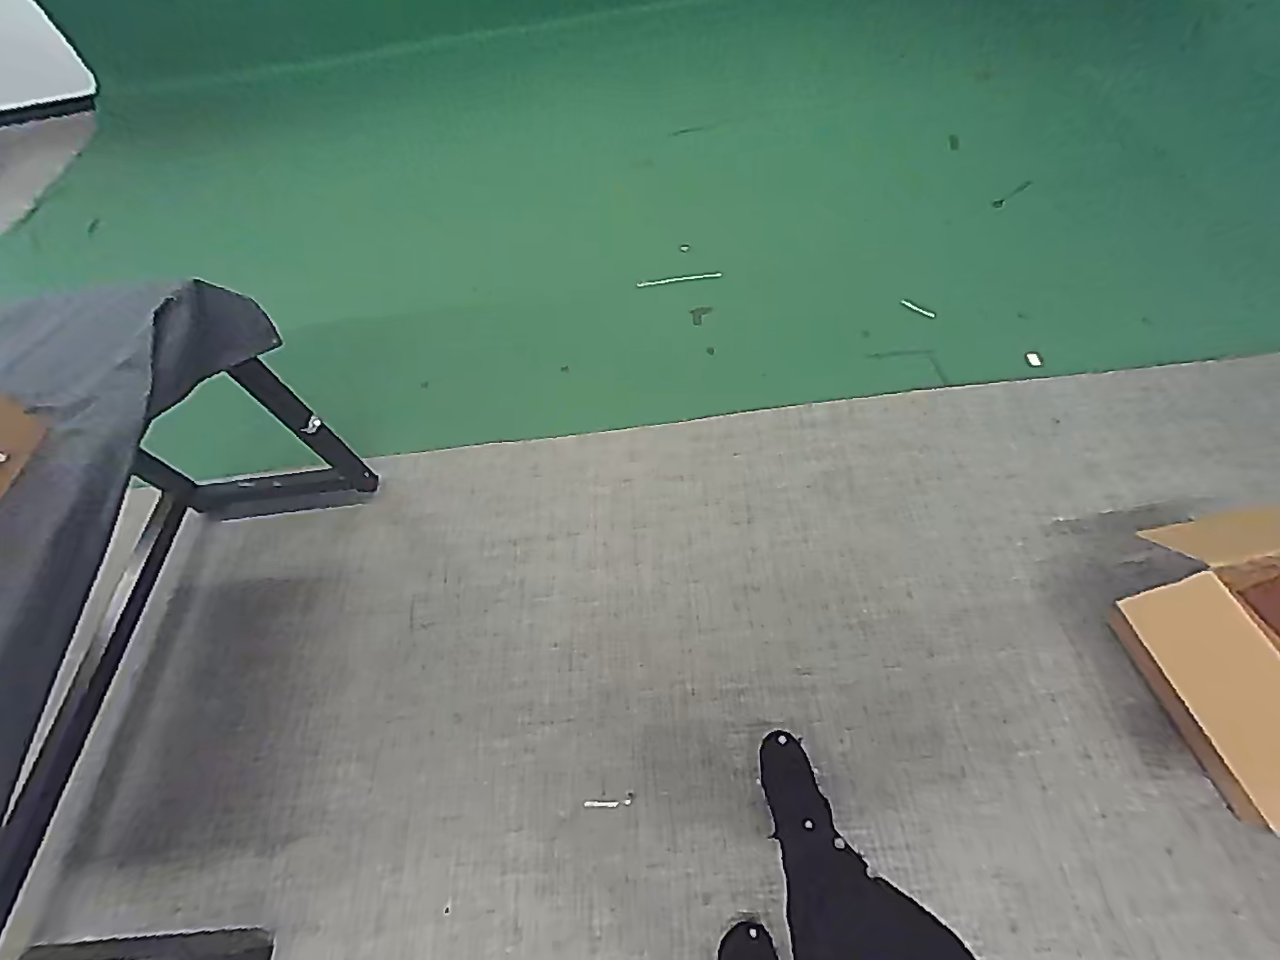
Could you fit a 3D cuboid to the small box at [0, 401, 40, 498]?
[{"bbox_3d":[-1.052,-0.050,0.780,0.168,0.176,0.179,-6,57,4],"label":"small box"}]
